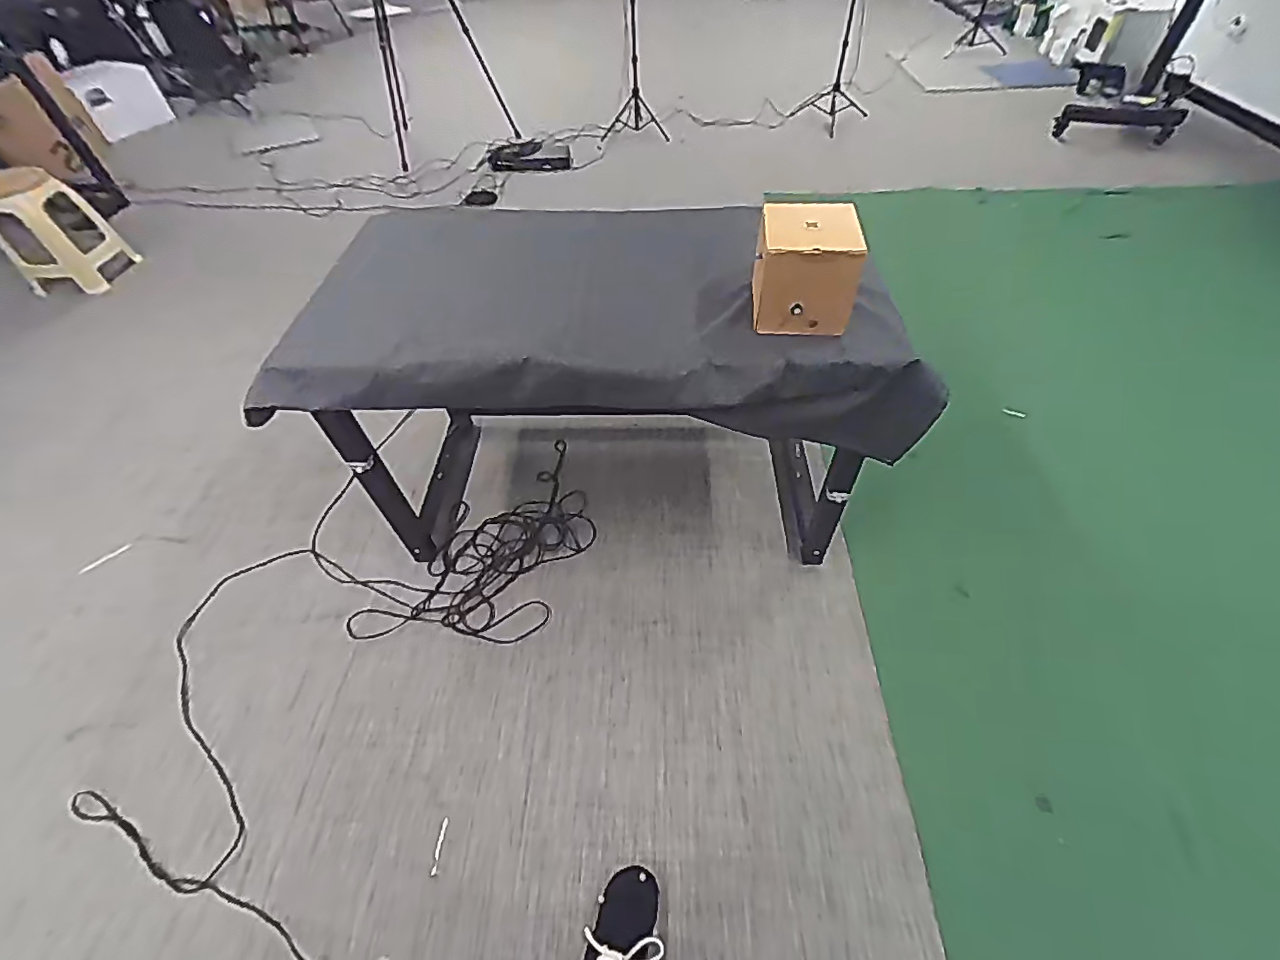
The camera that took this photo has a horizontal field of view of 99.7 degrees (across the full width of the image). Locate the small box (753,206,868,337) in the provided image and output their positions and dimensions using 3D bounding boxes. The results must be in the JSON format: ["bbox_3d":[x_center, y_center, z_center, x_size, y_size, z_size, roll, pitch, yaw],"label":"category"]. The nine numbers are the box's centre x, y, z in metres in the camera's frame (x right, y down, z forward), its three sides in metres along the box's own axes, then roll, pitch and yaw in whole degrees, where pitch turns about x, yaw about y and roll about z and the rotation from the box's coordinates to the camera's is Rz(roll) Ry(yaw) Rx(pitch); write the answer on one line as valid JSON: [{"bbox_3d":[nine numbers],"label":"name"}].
[{"bbox_3d":[0.306,-0.389,1.009,0.168,0.176,0.179,3,51,6],"label":"small box"}]
